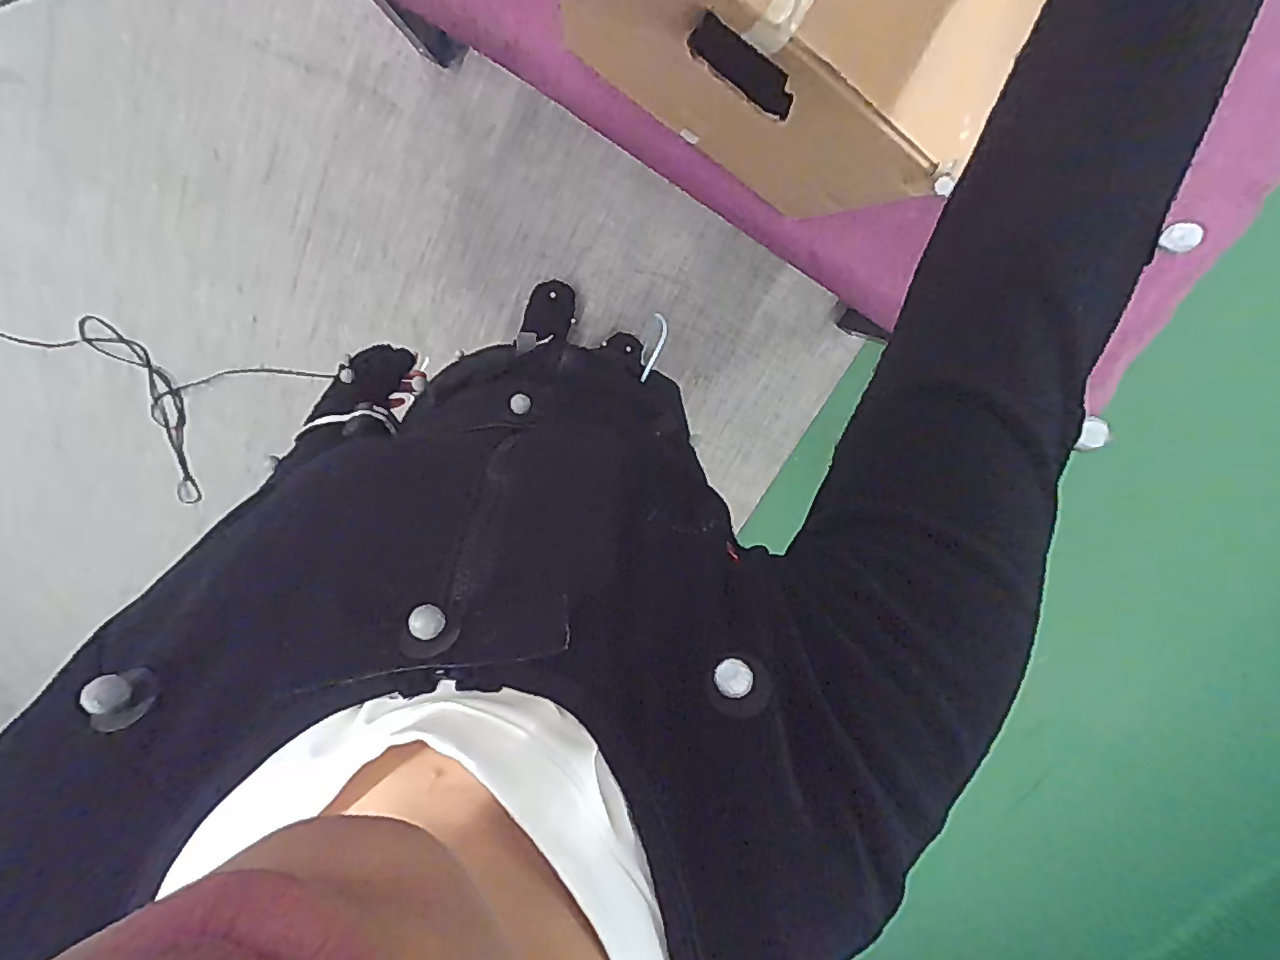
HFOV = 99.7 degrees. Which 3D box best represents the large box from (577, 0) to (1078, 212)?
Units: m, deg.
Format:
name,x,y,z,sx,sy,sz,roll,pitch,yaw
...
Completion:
name,x,y,z,sx,sy,sz,roll,pitch,yaw
large box,0.176,-0.491,0.422,0.320,0.320,0.408,29,108,-15
